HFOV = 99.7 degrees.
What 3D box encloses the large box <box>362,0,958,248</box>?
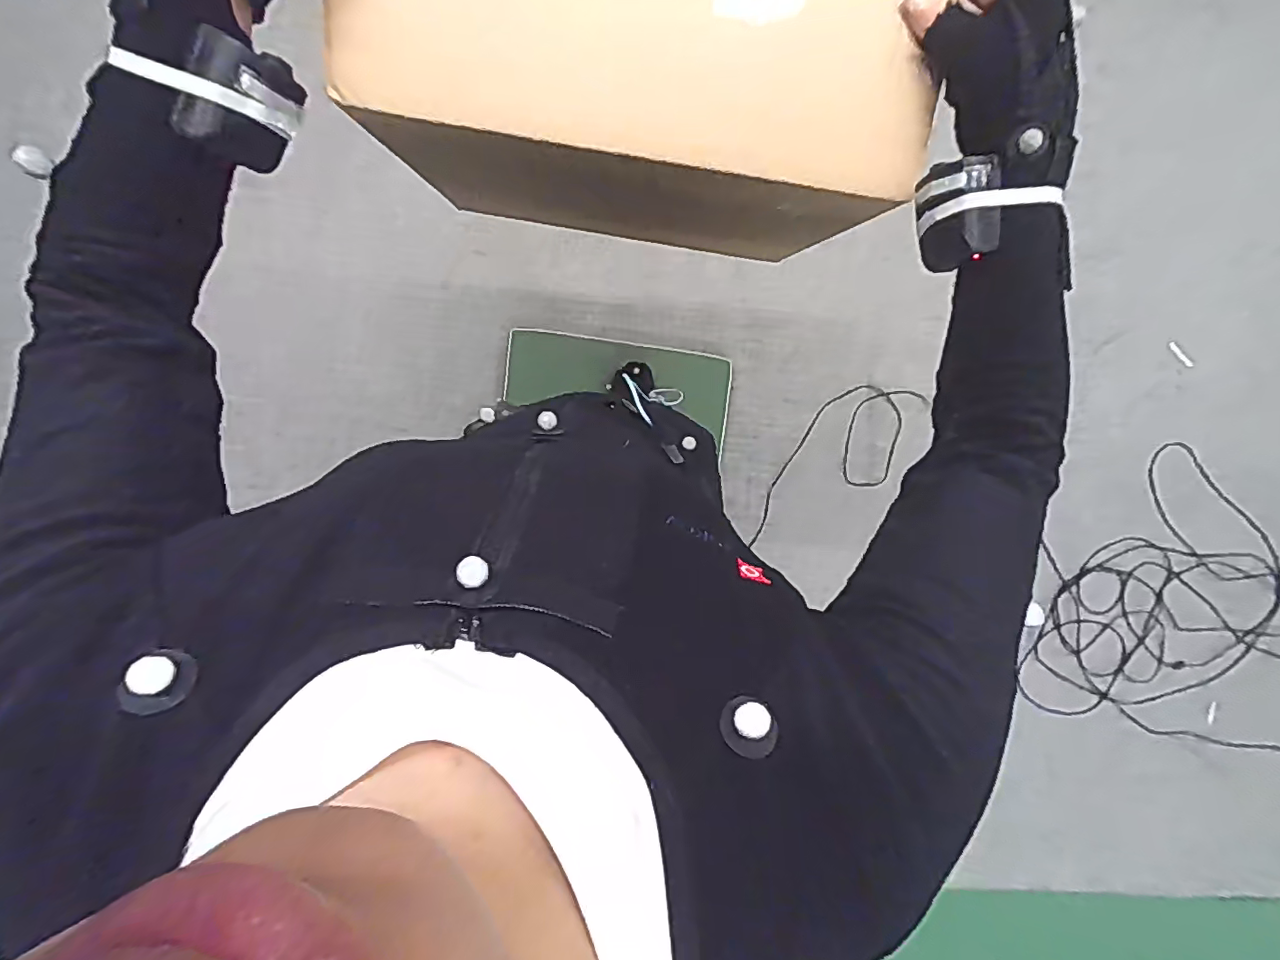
[{"bbox_3d":[0.015,-0.421,0.488,0.408,0.320,0.320,6,105,-6],"label":"large box"}]
